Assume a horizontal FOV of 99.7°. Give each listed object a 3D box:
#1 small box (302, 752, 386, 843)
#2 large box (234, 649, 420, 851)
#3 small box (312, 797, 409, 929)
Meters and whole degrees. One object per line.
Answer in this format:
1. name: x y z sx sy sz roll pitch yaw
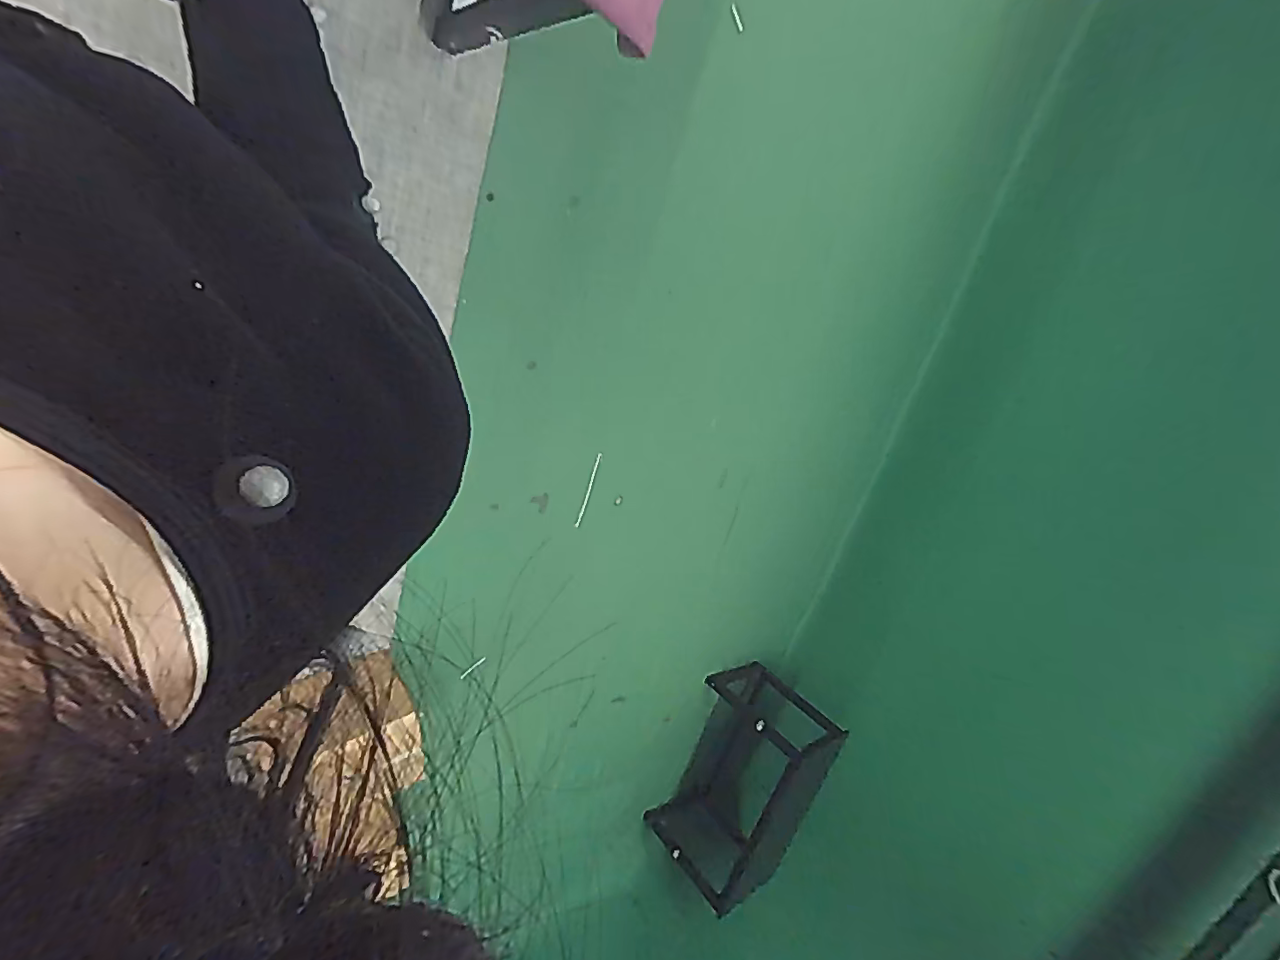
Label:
1. small box: -0.798 0.869 1.455 0.168 0.176 0.179 -8 119 -40
2. large box: -0.939 0.793 1.646 0.408 0.320 0.320 -16 125 -39
3. small box: -0.699 0.940 1.348 0.179 0.176 0.168 -7 118 -41
